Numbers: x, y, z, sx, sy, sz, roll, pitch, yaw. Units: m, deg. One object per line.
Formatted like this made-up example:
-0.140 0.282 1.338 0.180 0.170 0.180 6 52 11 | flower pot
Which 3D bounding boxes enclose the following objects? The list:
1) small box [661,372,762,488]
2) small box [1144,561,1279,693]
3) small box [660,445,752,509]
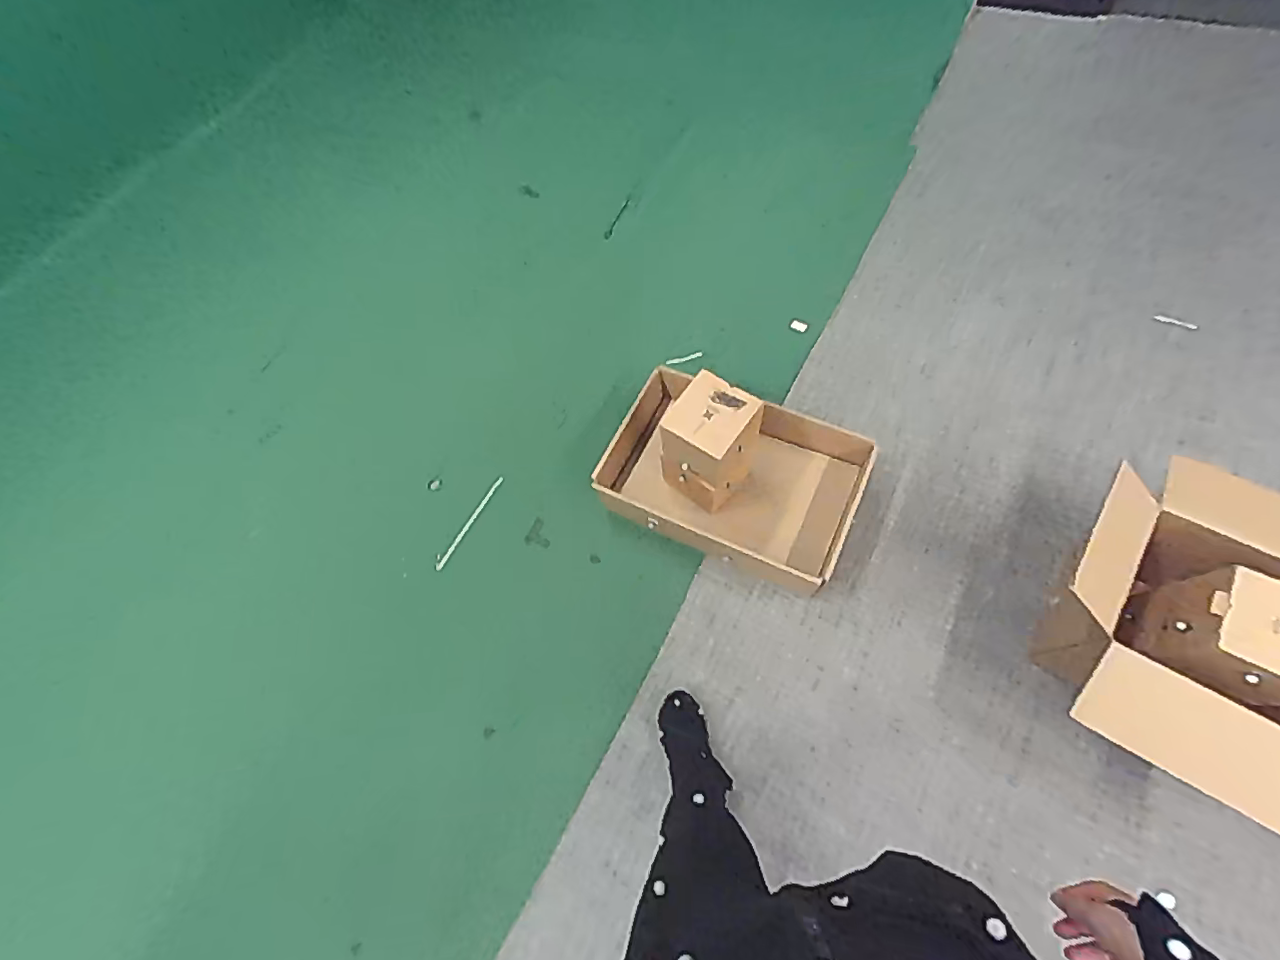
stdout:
0.166 -0.113 1.277 0.168 0.176 0.179 33 74 19 | small box
1.095 0.277 0.996 0.179 0.176 0.168 26 73 18 | small box
0.173 -0.044 1.427 0.179 0.176 0.168 36 74 19 | small box
